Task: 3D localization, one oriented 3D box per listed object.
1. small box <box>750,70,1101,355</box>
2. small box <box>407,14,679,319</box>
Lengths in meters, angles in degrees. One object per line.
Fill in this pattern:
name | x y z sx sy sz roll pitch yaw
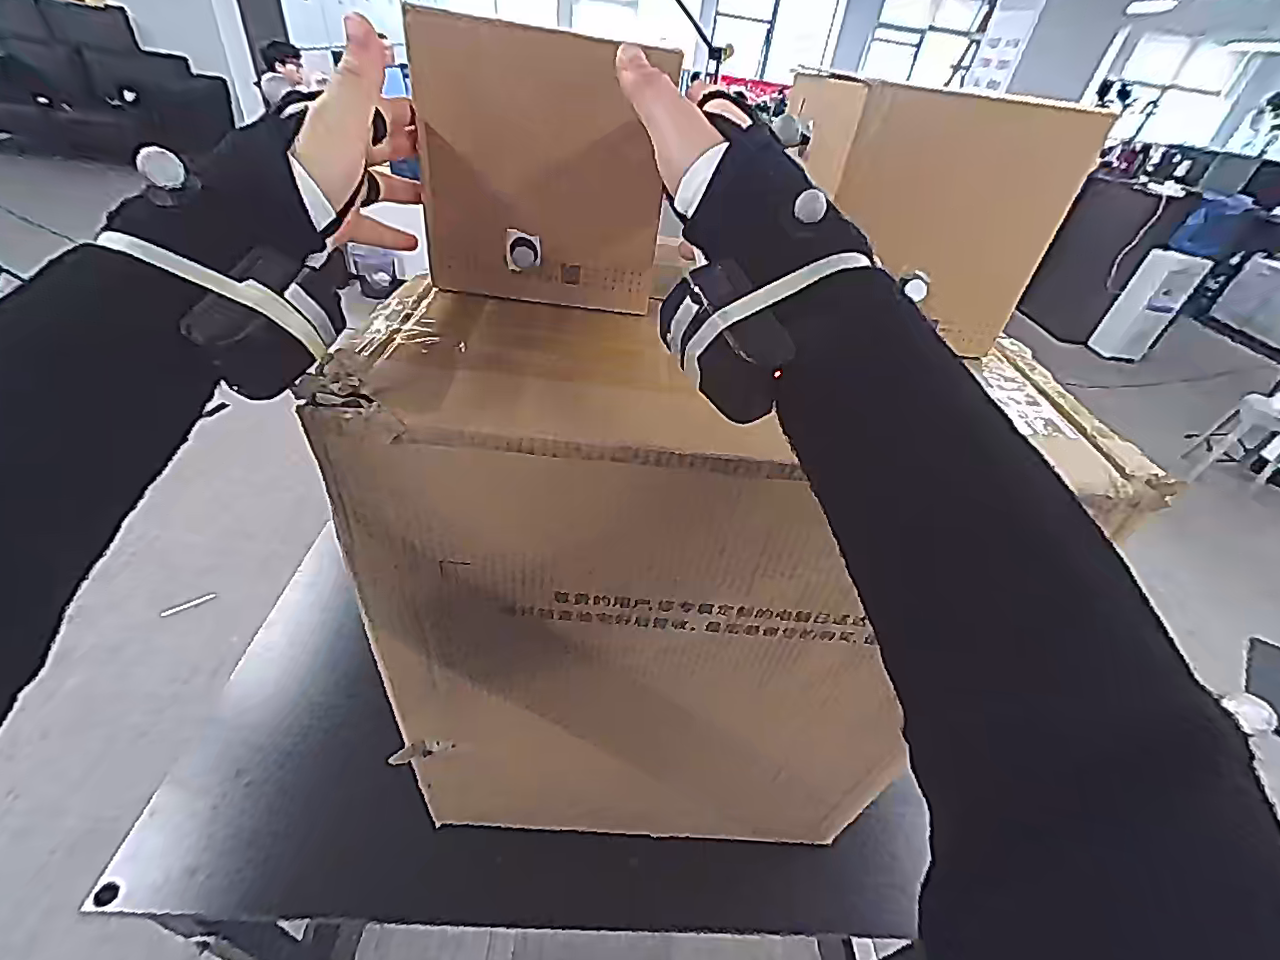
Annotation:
small box | 0.200 -0.222 0.448 0.168 0.176 0.179 3 39 -5
small box | -0.070 -0.249 0.436 0.168 0.176 0.179 3 40 -6
